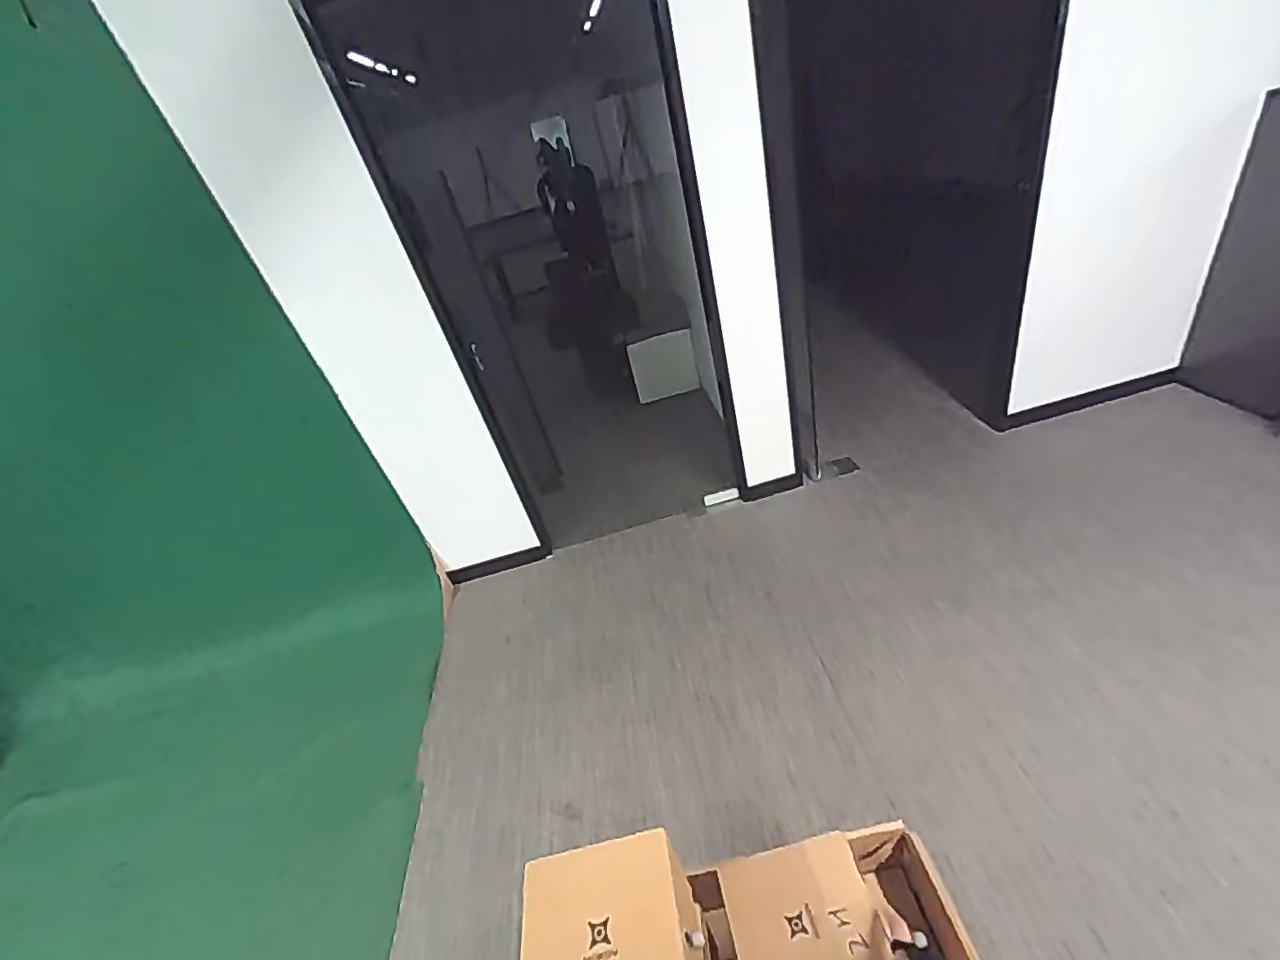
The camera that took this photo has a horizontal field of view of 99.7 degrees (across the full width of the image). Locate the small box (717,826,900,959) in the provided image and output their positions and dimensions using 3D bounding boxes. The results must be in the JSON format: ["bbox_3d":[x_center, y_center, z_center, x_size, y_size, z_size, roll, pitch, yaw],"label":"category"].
[{"bbox_3d":[0.214,0.580,0.679,0.179,0.176,0.168,-17,33,2],"label":"small box"}]

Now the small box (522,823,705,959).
[{"bbox_3d":[-0.022,0.517,0.584,0.168,0.176,0.179,-15,33,1],"label":"small box"}]
